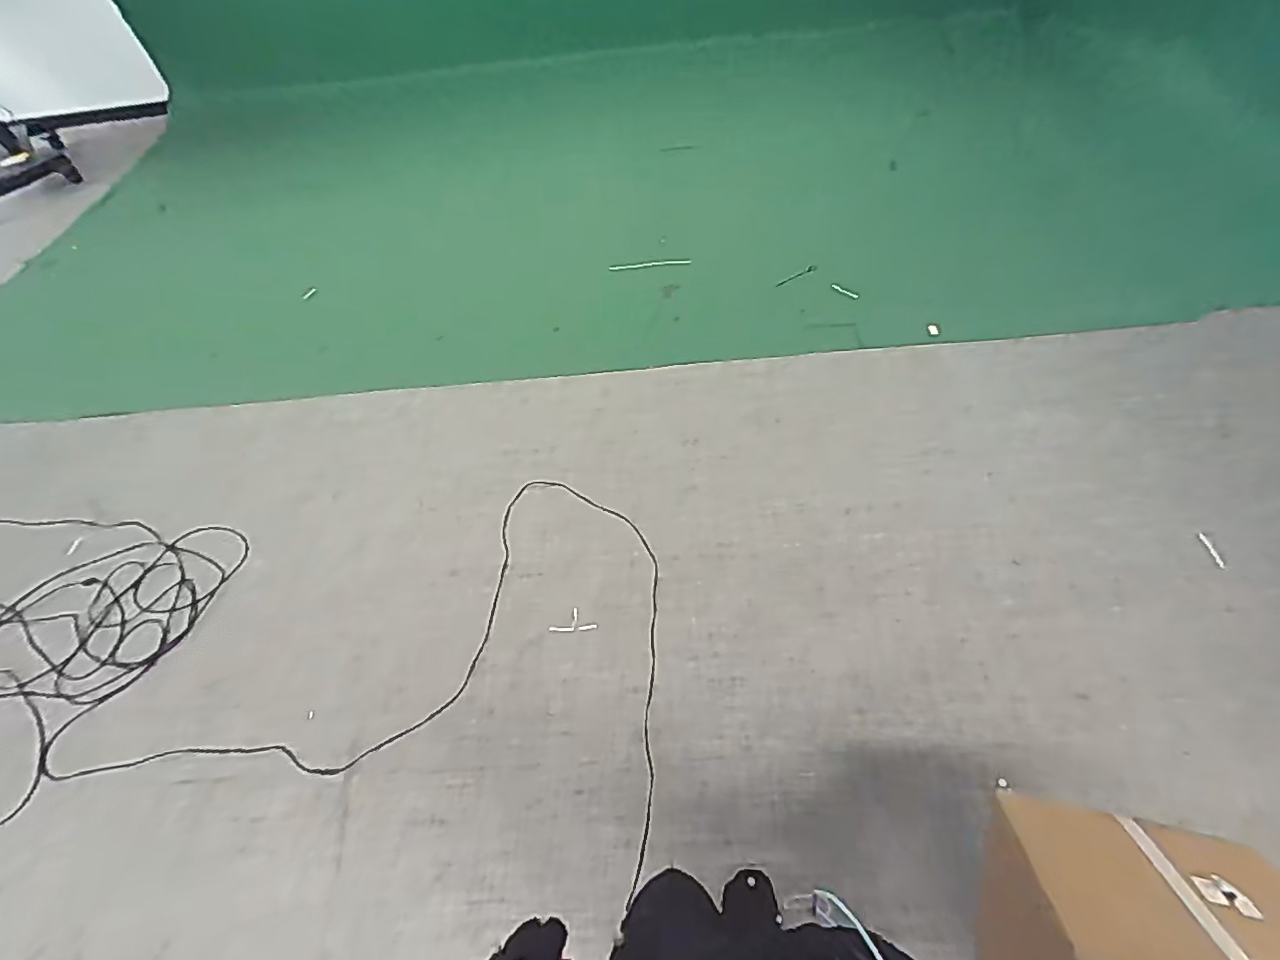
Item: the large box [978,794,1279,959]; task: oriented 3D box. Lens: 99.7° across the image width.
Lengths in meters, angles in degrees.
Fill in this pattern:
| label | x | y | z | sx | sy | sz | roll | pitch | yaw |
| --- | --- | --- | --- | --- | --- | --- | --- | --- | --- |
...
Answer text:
| label | x | y | z | sx | sy | sz | roll | pitch | yaw |
| --- | --- | --- | --- | --- | --- | --- | --- | --- | --- |
| large box | 0.612 | 0.647 | 0.599 | 0.320 | 0.408 | 0.320 | 6 | 94 | 19 |
